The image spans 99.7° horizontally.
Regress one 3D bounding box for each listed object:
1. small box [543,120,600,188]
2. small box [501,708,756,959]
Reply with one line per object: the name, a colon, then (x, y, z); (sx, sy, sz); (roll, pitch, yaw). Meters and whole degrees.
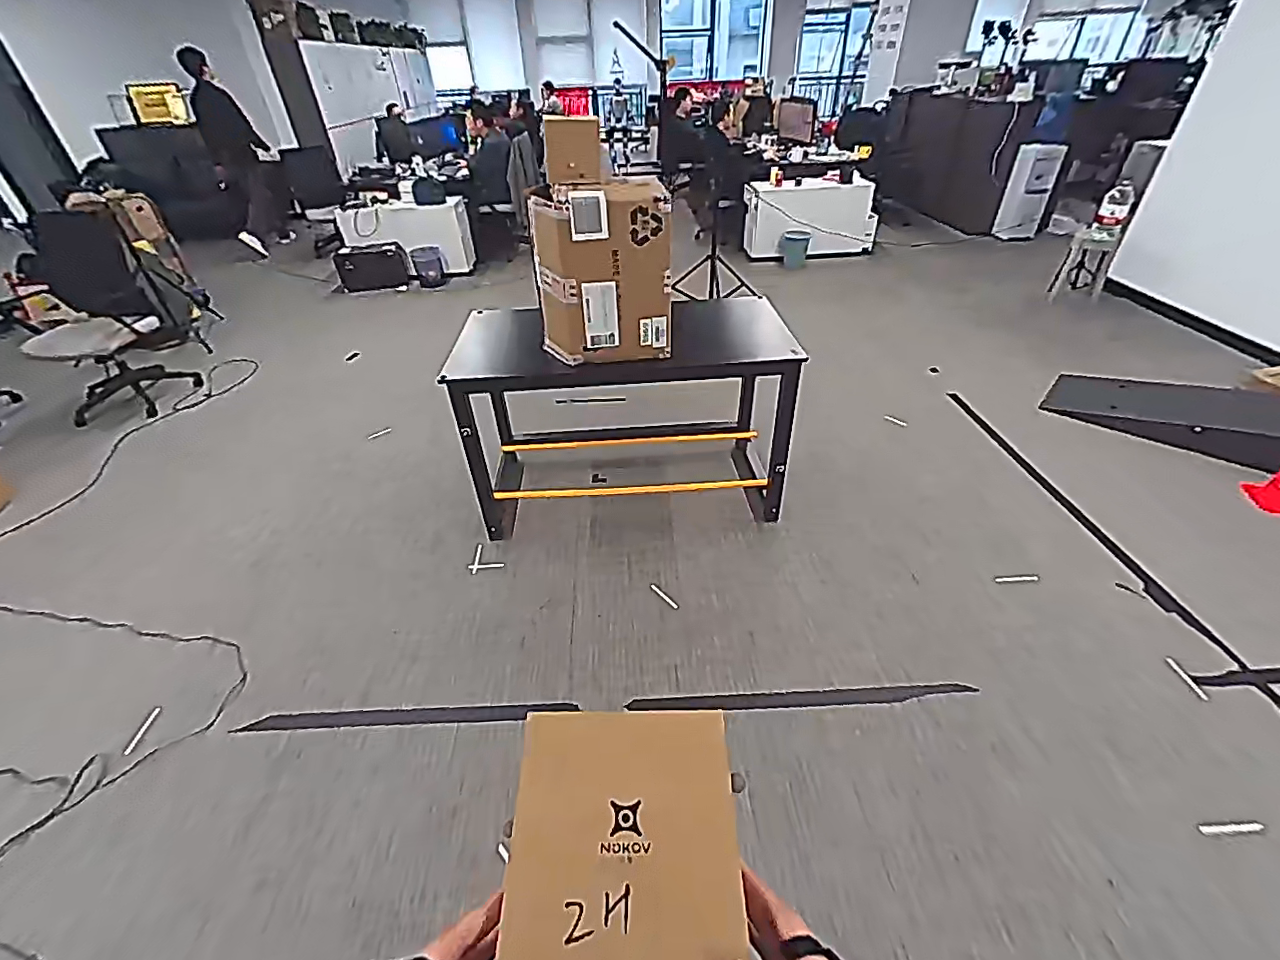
small box: (-0.213, -1.016, 1.680); (0.168, 0.176, 0.179); (-5, 36, -7)
small box: (-0.007, 0.311, 0.451); (0.168, 0.176, 0.179); (-1, 46, 0)
